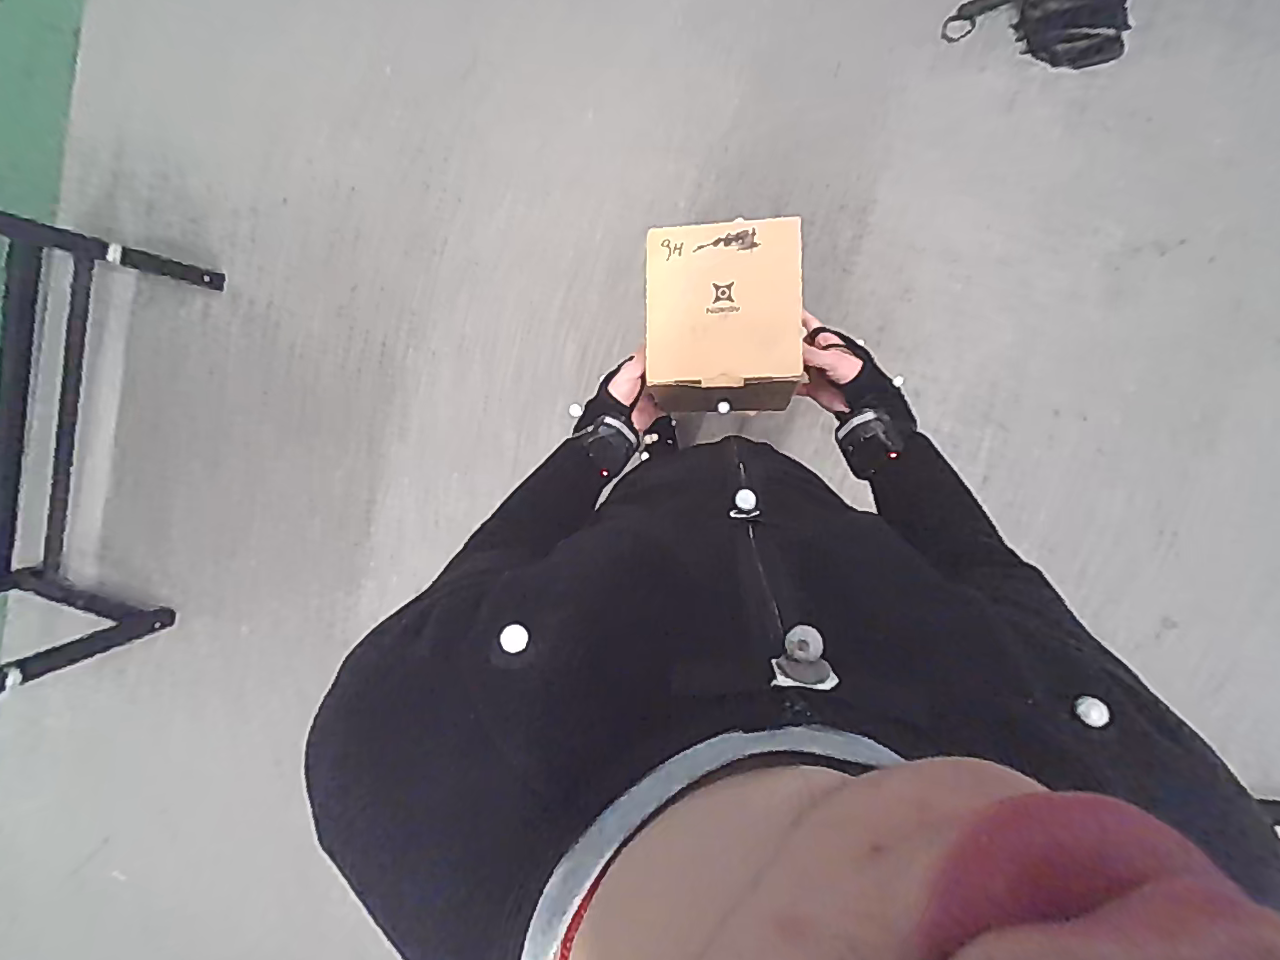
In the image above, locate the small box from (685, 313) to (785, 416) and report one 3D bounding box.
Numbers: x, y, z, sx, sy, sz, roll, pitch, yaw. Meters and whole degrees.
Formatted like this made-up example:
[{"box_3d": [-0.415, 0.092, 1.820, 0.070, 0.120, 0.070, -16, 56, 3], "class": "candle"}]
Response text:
[{"box_3d": [0.220, -0.268, 1.289, 0.168, 0.176, 0.179, 30, 99, 4], "class": "small box"}]
